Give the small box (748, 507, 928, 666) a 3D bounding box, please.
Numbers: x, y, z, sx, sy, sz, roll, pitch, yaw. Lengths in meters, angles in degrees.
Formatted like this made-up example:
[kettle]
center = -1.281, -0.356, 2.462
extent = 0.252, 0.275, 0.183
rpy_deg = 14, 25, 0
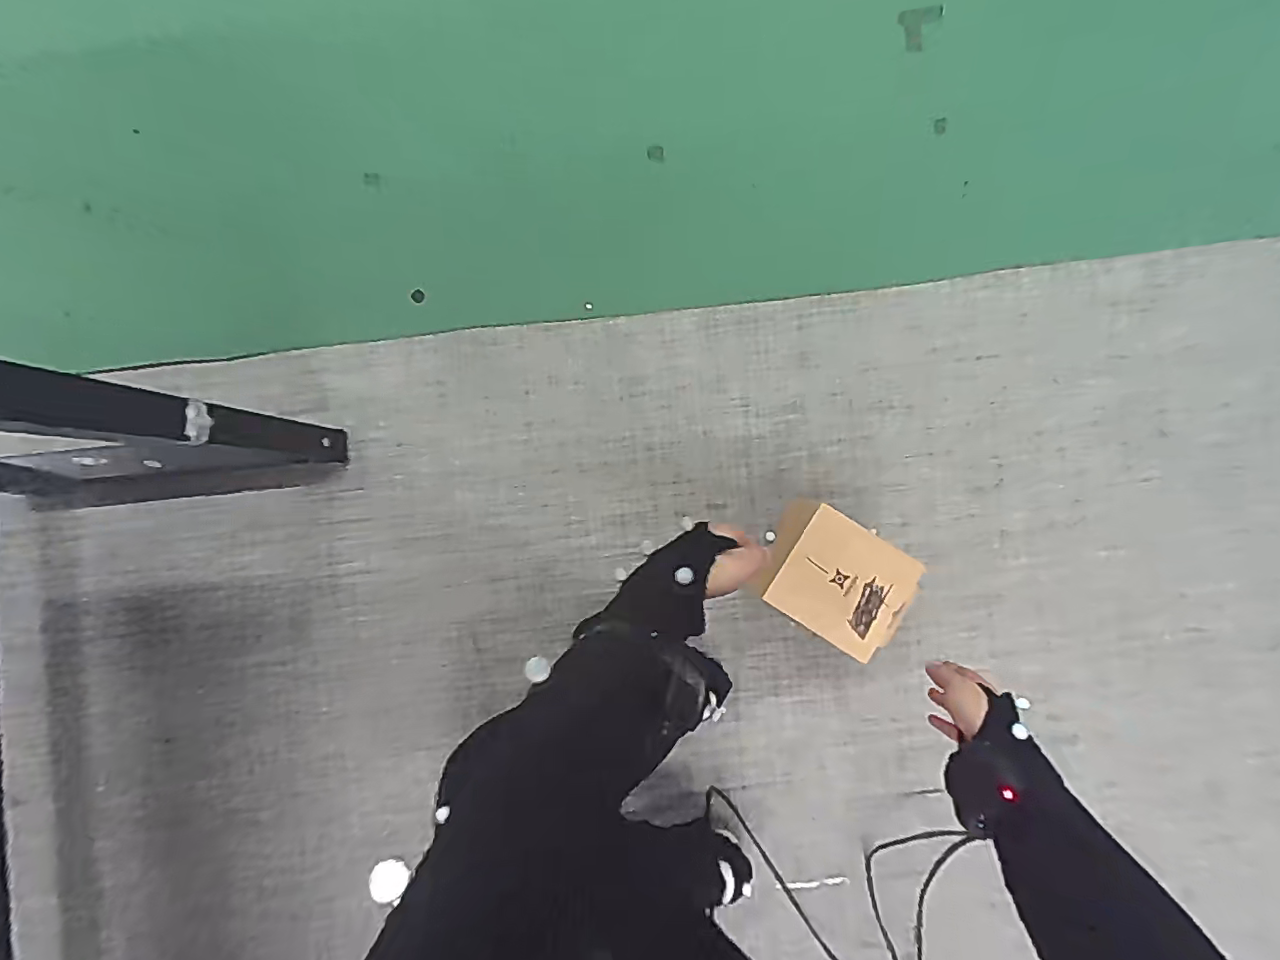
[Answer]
[small box]
center = 0.293, 0.150, 0.840
extent = 0.179, 0.176, 0.168
rpy_deg = 33, 89, 2
